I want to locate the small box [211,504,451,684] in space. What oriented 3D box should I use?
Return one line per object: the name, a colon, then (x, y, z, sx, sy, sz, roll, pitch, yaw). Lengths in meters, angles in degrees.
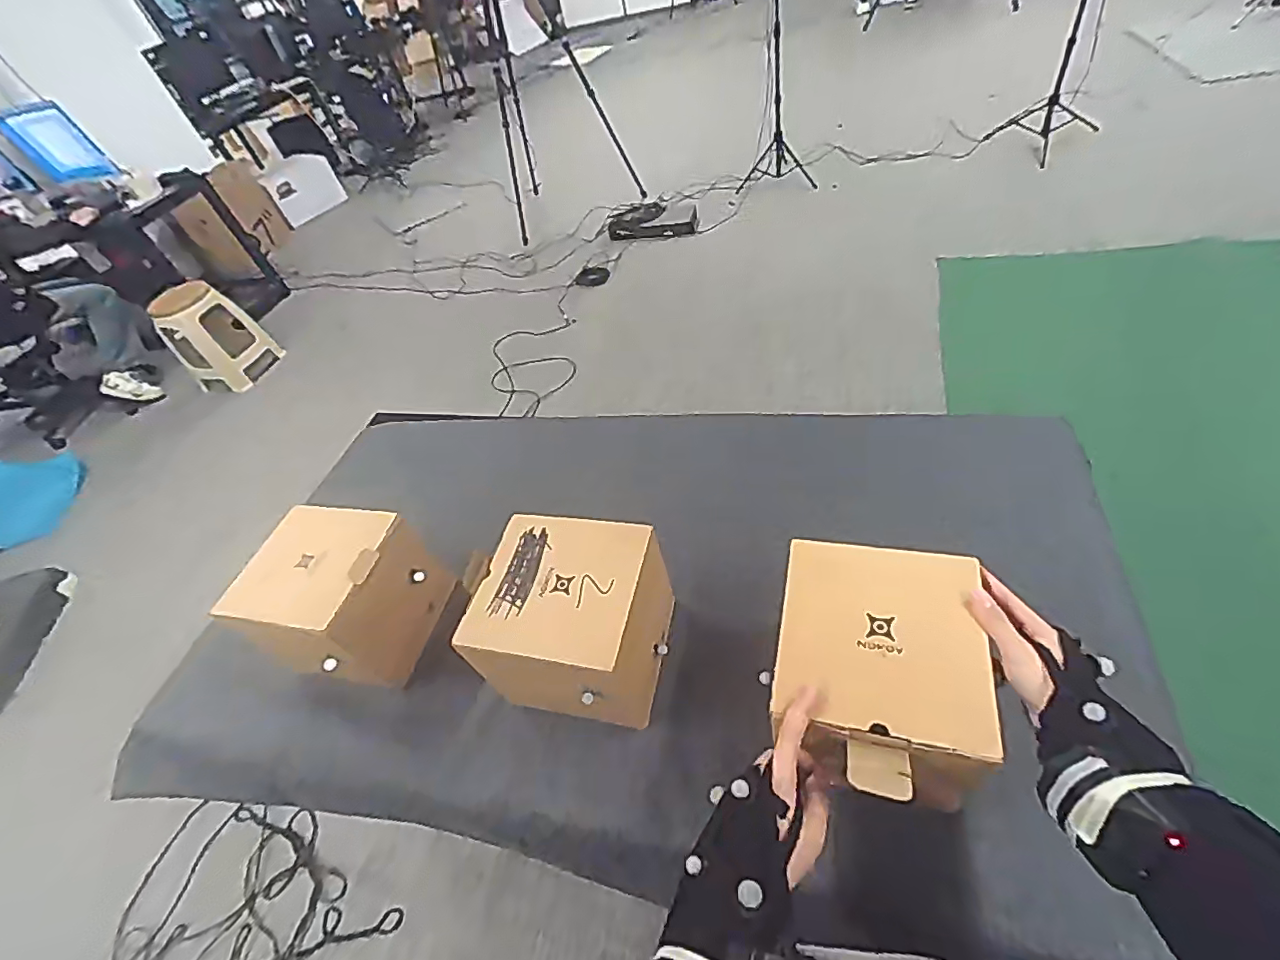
small box: (-0.383, 0.151, 0.708, 0.179, 0.176, 0.168, 2, 48, 18)
